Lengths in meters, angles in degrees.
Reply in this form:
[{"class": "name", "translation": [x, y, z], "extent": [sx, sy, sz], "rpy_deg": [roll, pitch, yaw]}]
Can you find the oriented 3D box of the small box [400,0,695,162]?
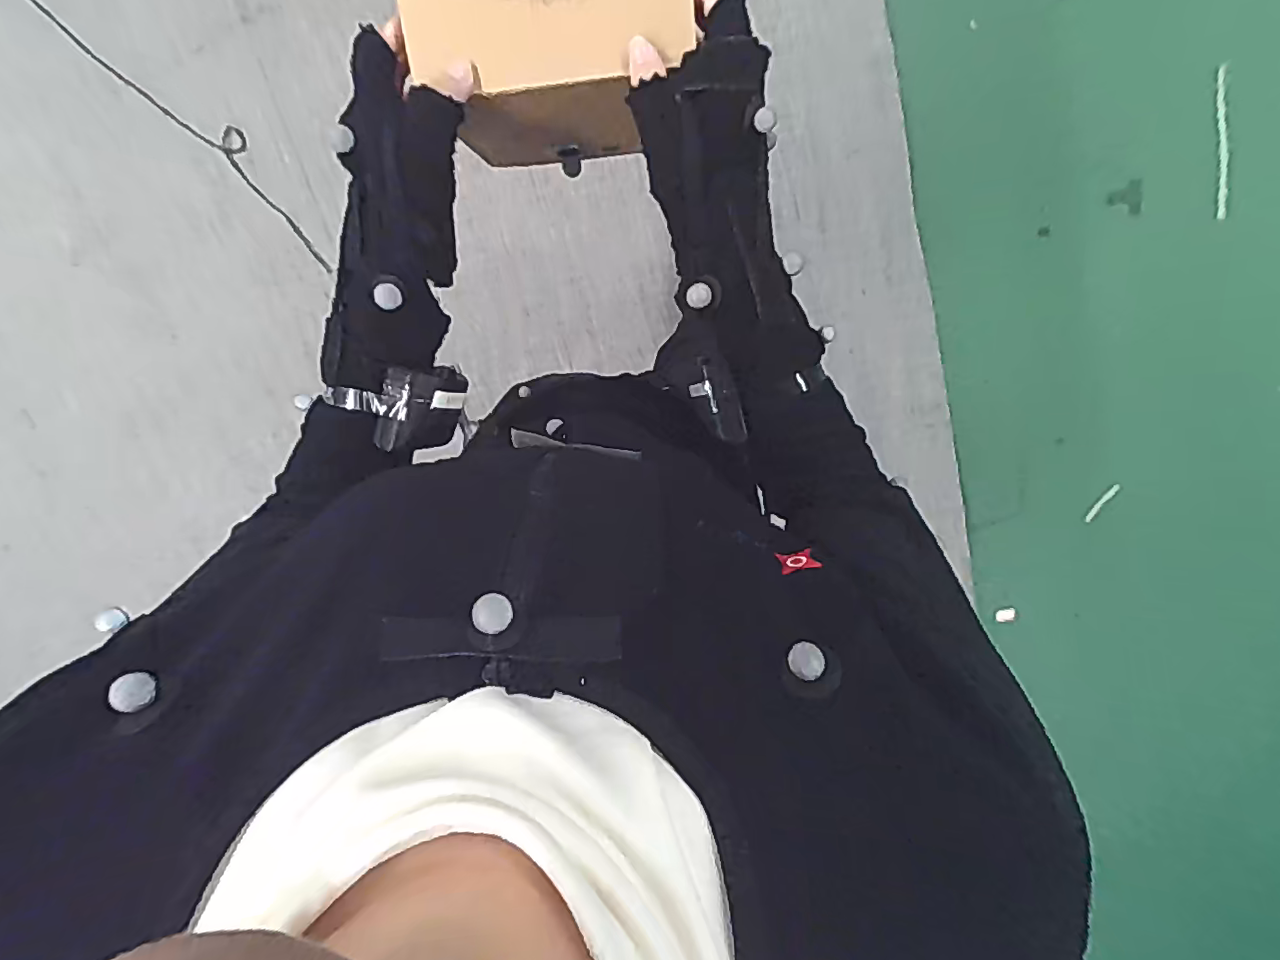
[{"class": "small box", "translation": [-0.055, -0.339, 0.362], "extent": [0.168, 0.176, 0.179], "rpy_deg": [-5, 108, 4]}]
